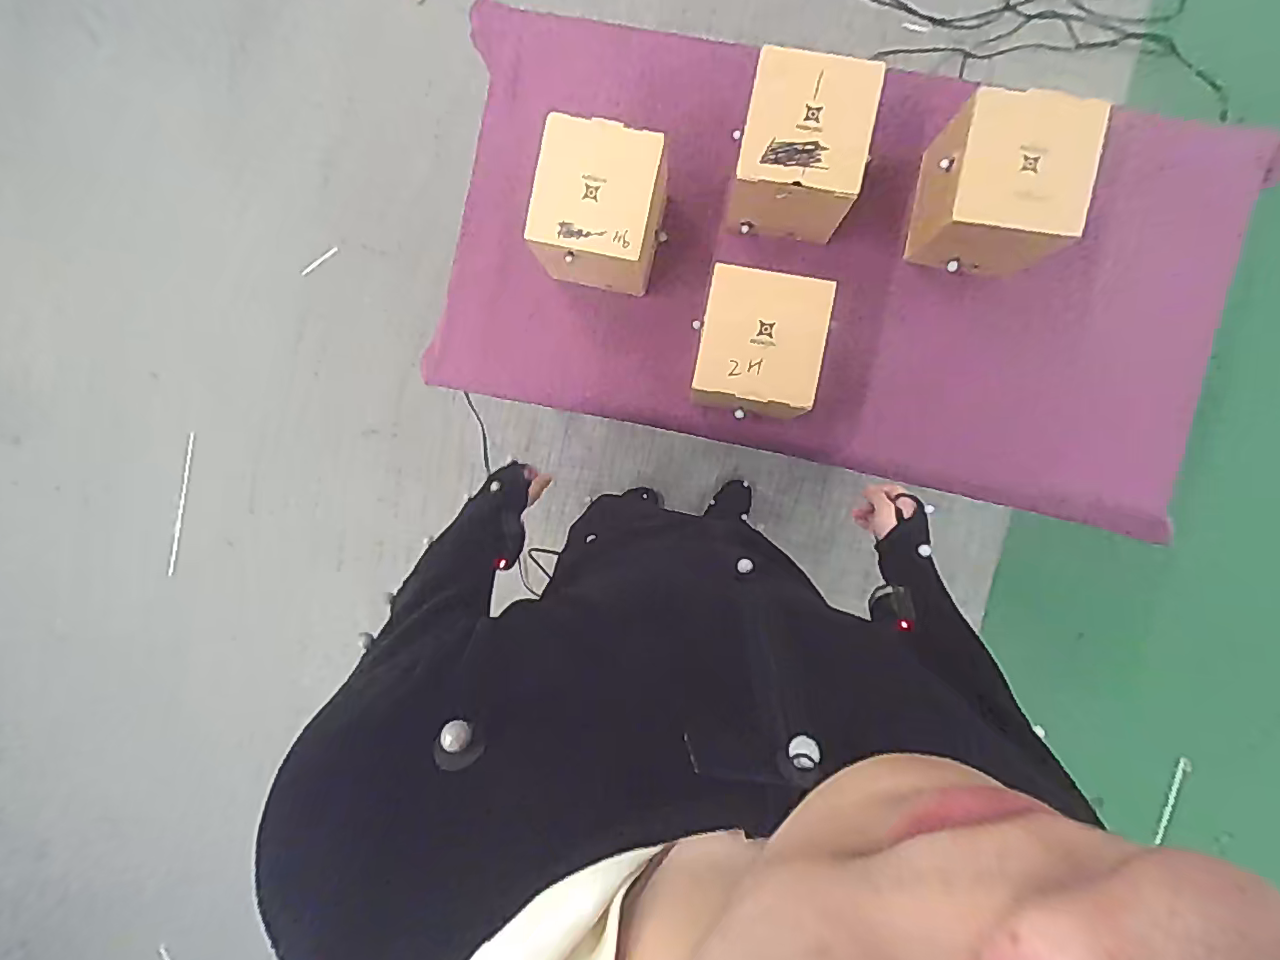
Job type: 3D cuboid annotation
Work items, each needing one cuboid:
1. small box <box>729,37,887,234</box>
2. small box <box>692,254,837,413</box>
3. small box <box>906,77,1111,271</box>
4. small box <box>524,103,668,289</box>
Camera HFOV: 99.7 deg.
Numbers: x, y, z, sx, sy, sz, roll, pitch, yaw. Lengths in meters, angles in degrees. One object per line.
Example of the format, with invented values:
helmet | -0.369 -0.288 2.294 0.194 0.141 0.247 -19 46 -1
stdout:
small box | 0.230 -0.485 0.788 0.168 0.176 0.179 11 93 3
small box | 0.172 -0.206 0.805 0.168 0.176 0.179 11 93 4
small box | 0.508 -0.423 0.774 0.168 0.176 0.179 11 95 4
small box | -0.056 -0.410 0.809 0.168 0.176 0.179 13 93 5
